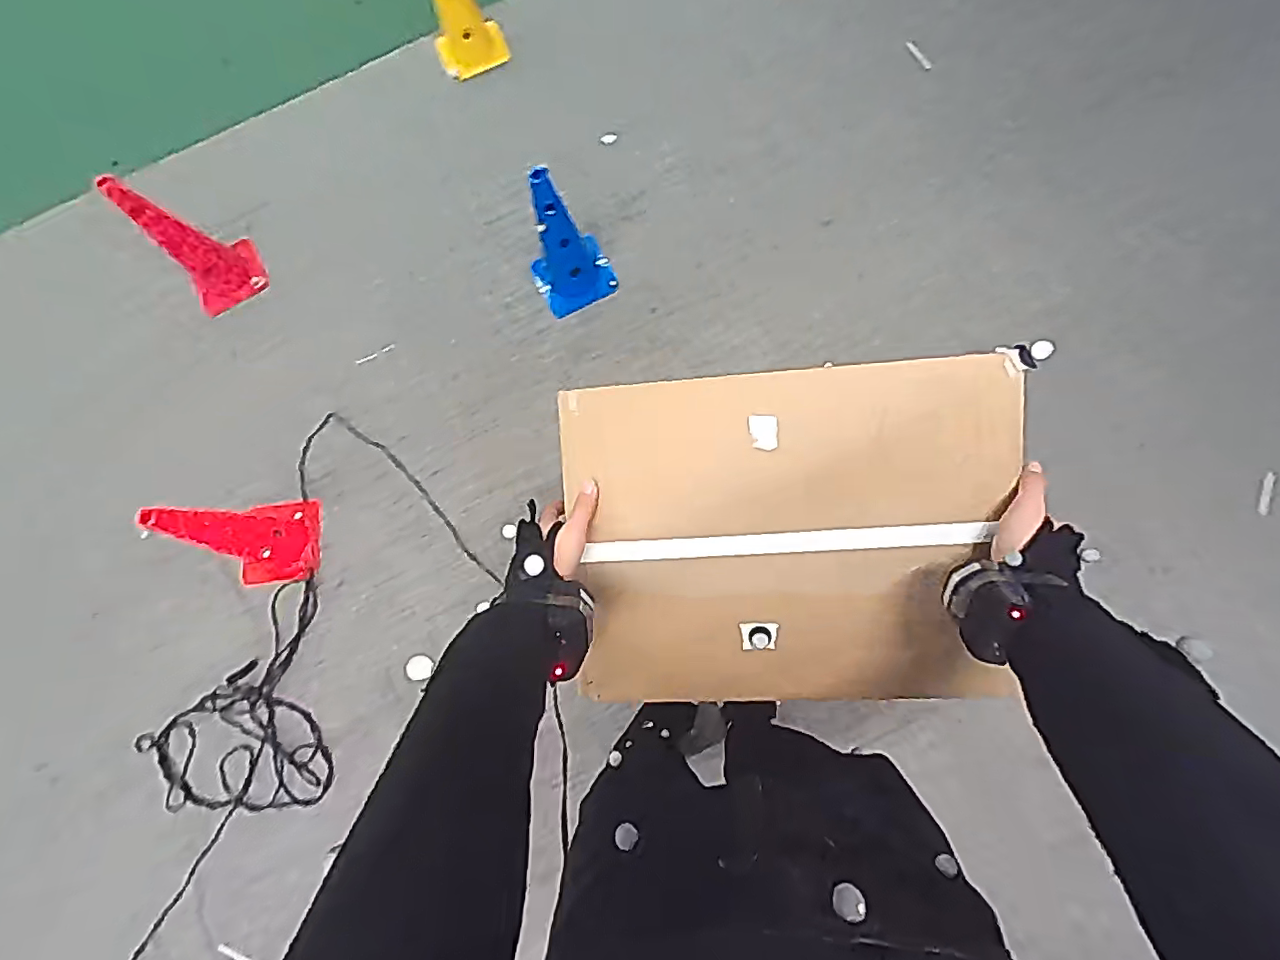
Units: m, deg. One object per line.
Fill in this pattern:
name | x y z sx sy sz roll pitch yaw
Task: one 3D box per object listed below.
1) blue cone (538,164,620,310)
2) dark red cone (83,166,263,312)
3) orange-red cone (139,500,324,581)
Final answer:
blue cone | -0.188 -0.605 1.322 0.192 0.380 0.193 -25 74 -1
dark red cone | -1.222 -0.645 1.414 0.202 0.394 0.201 -33 71 -3
orange-red cone | -0.922 0.106 1.201 0.199 0.360 0.198 -7 73 6
